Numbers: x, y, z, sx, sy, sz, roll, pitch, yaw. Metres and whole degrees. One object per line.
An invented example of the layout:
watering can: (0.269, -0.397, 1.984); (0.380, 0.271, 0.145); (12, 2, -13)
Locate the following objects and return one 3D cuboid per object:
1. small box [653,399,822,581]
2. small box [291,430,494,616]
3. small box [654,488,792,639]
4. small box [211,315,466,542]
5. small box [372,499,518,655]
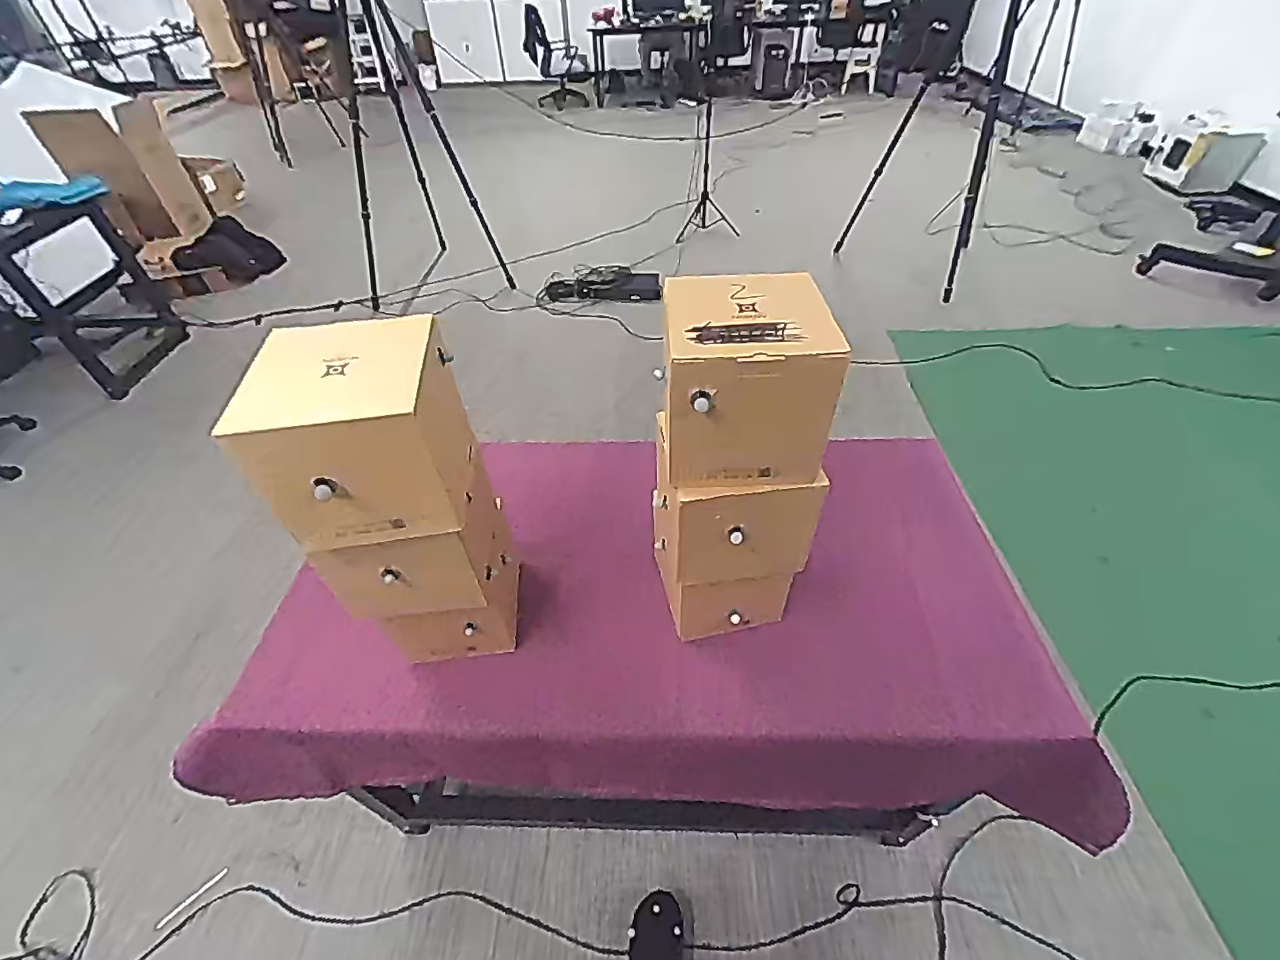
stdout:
small box: (0.115, 0.017, 0.710); (0.179, 0.176, 0.168); (-6, 46, -3)
small box: (-0.294, 0.057, 0.695); (0.179, 0.176, 0.168); (-5, 45, -3)
small box: (0.117, 0.118, 0.840); (0.168, 0.176, 0.179); (-10, 46, -6)
small box: (-0.290, -0.049, 0.571); (0.168, 0.176, 0.179); (-8, 45, -6)
small box: (-0.287, 0.153, 0.830); (0.168, 0.176, 0.179); (-5, 45, -3)
